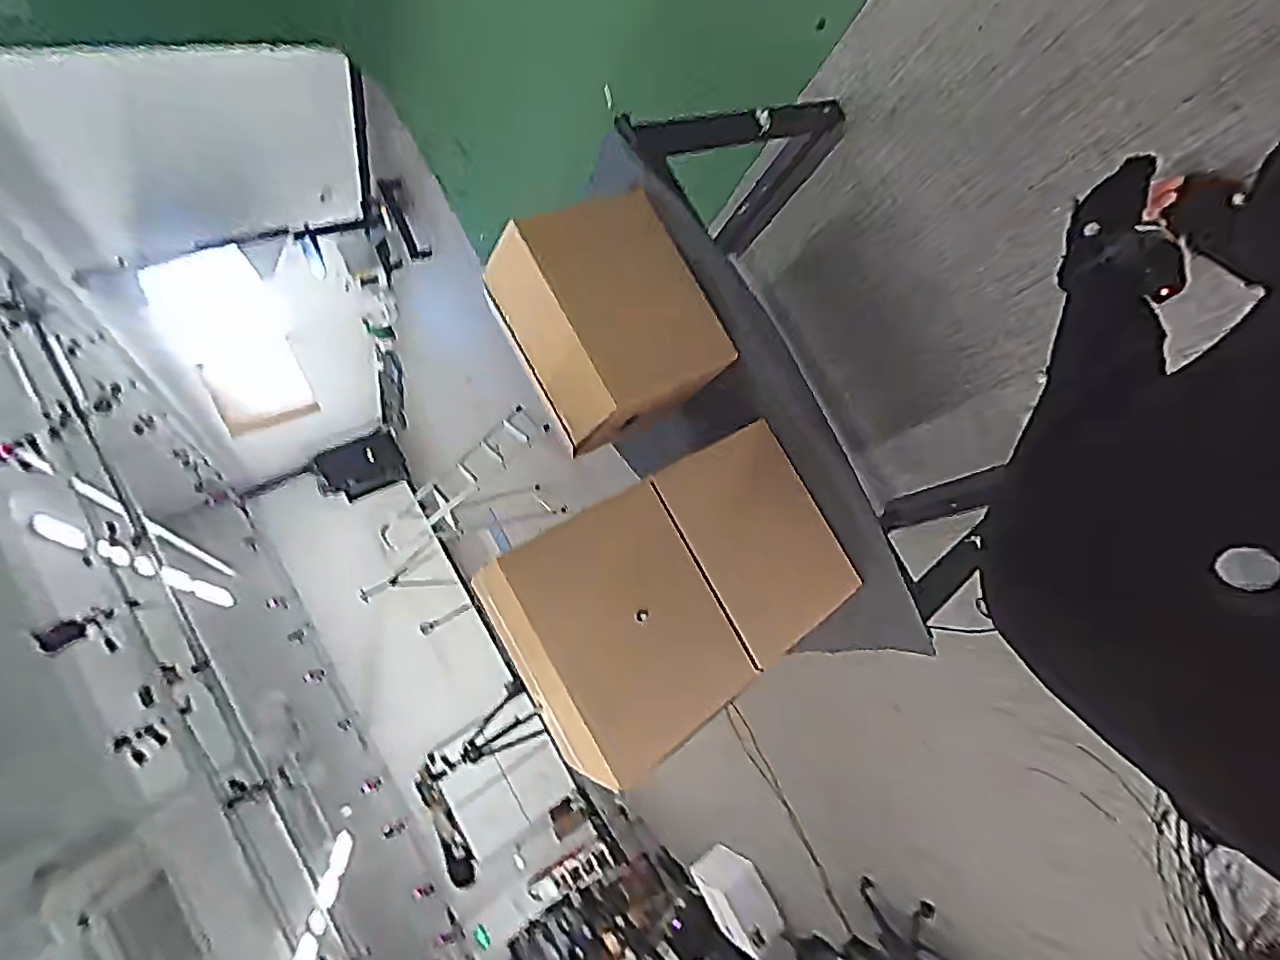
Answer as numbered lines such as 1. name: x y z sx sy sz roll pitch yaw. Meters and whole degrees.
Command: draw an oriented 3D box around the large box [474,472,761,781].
1. large box: -0.057 0.258 1.010 0.408 0.320 0.320 59 151 4
